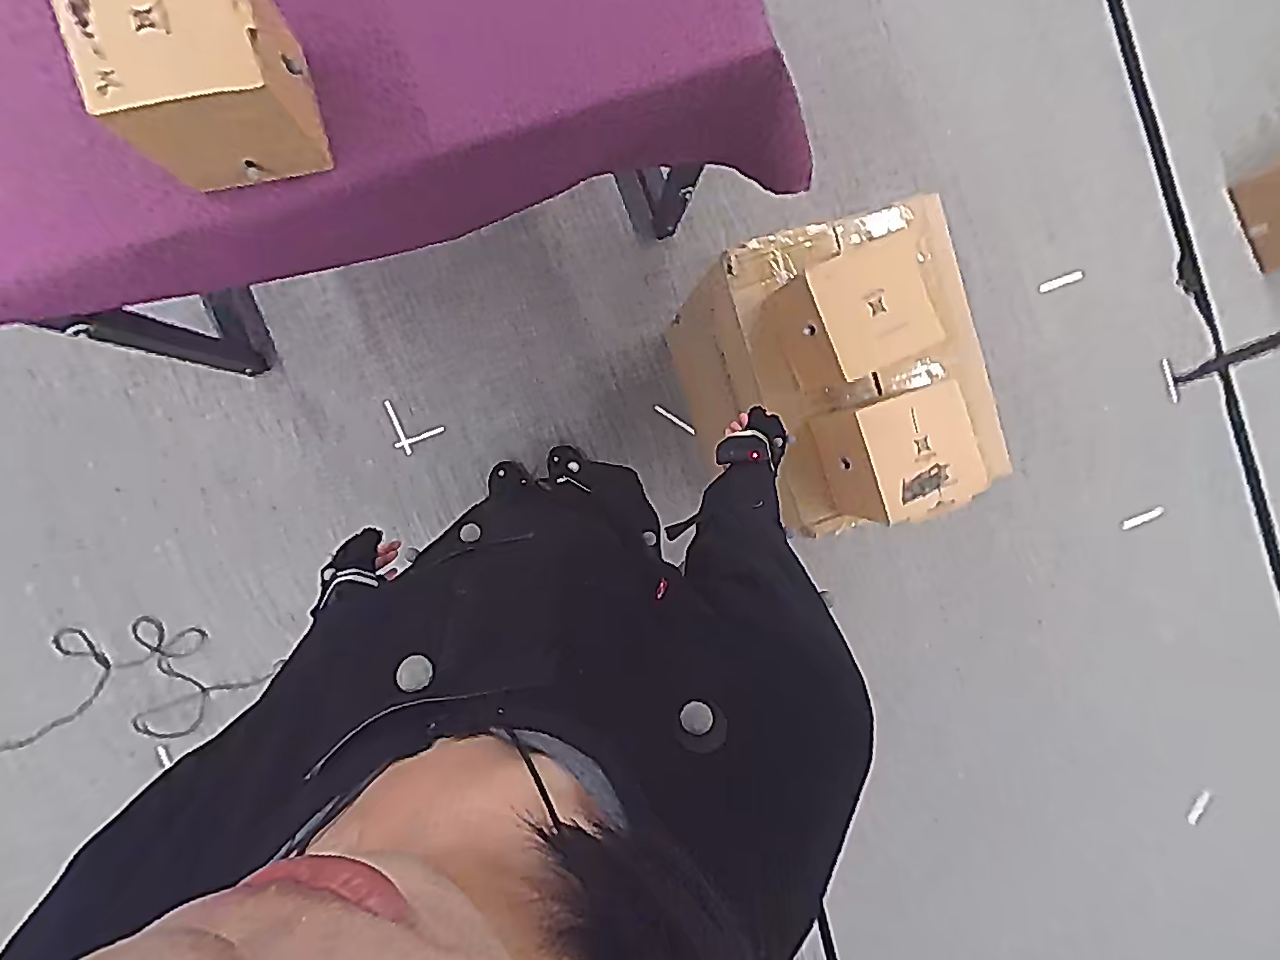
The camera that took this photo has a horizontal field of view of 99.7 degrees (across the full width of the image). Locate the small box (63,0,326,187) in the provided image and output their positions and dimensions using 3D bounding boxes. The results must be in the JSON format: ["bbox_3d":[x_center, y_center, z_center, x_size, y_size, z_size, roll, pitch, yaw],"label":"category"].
[{"bbox_3d":[-0.497,-0.475,0.631,0.179,0.176,0.168,-14,93,-7],"label":"small box"}]

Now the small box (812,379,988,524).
[{"bbox_3d":[0.402,-0.044,0.862,0.168,0.176,0.179,-19,92,-5],"label":"small box"}]

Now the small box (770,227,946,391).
[{"bbox_3d":[0.327,-0.255,0.846,0.168,0.176,0.179,-24,96,-4],"label":"small box"}]
